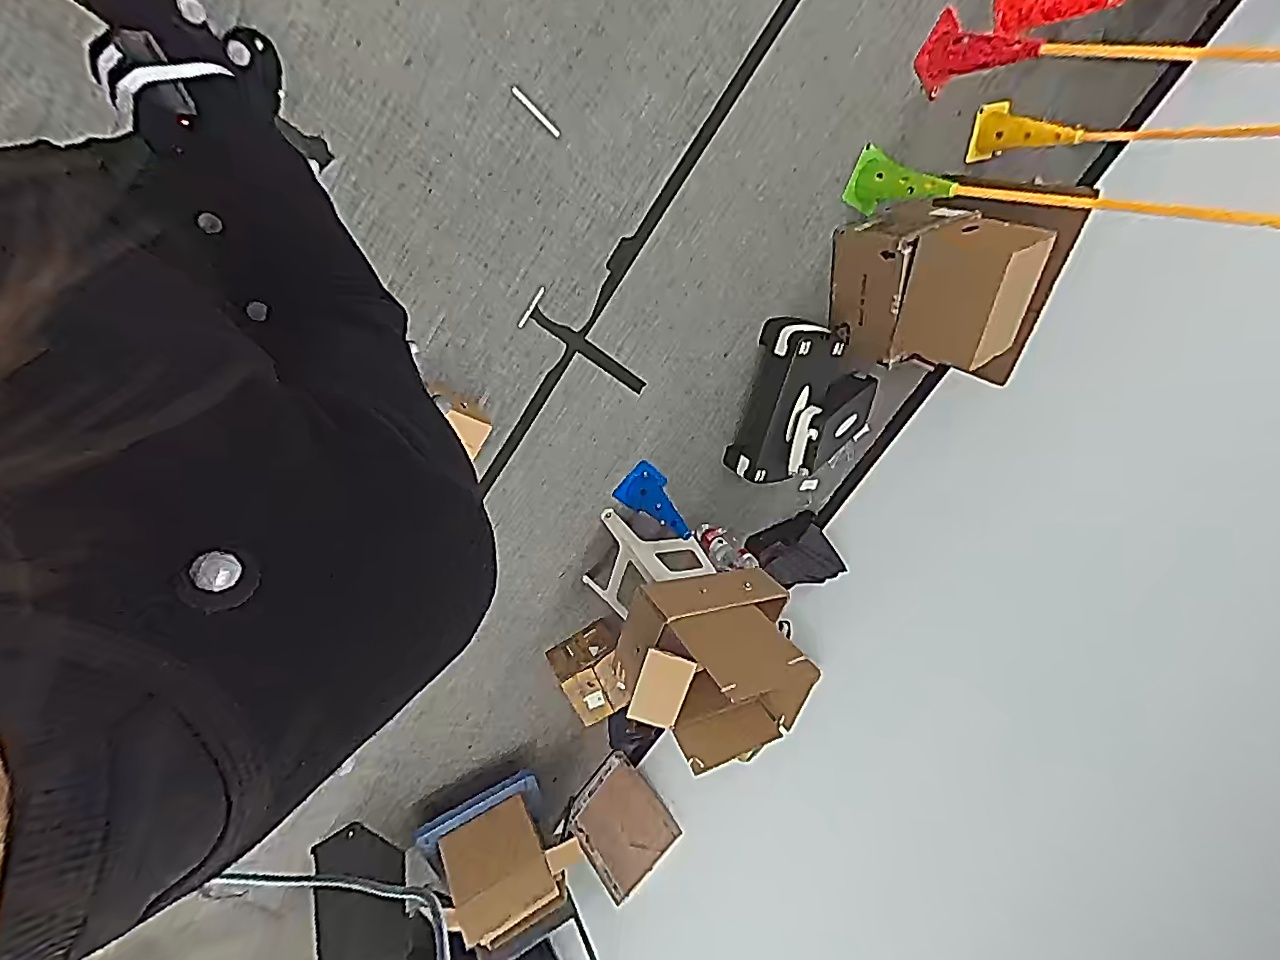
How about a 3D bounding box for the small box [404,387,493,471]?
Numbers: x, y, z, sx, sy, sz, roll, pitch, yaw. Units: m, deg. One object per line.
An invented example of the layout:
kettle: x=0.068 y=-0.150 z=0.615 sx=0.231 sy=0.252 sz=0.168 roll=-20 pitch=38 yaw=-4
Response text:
small box: x=-0.574 y=-0.156 z=1.605 sx=0.179 sy=0.176 sz=0.168 roll=24 pitch=105 yaw=-43
